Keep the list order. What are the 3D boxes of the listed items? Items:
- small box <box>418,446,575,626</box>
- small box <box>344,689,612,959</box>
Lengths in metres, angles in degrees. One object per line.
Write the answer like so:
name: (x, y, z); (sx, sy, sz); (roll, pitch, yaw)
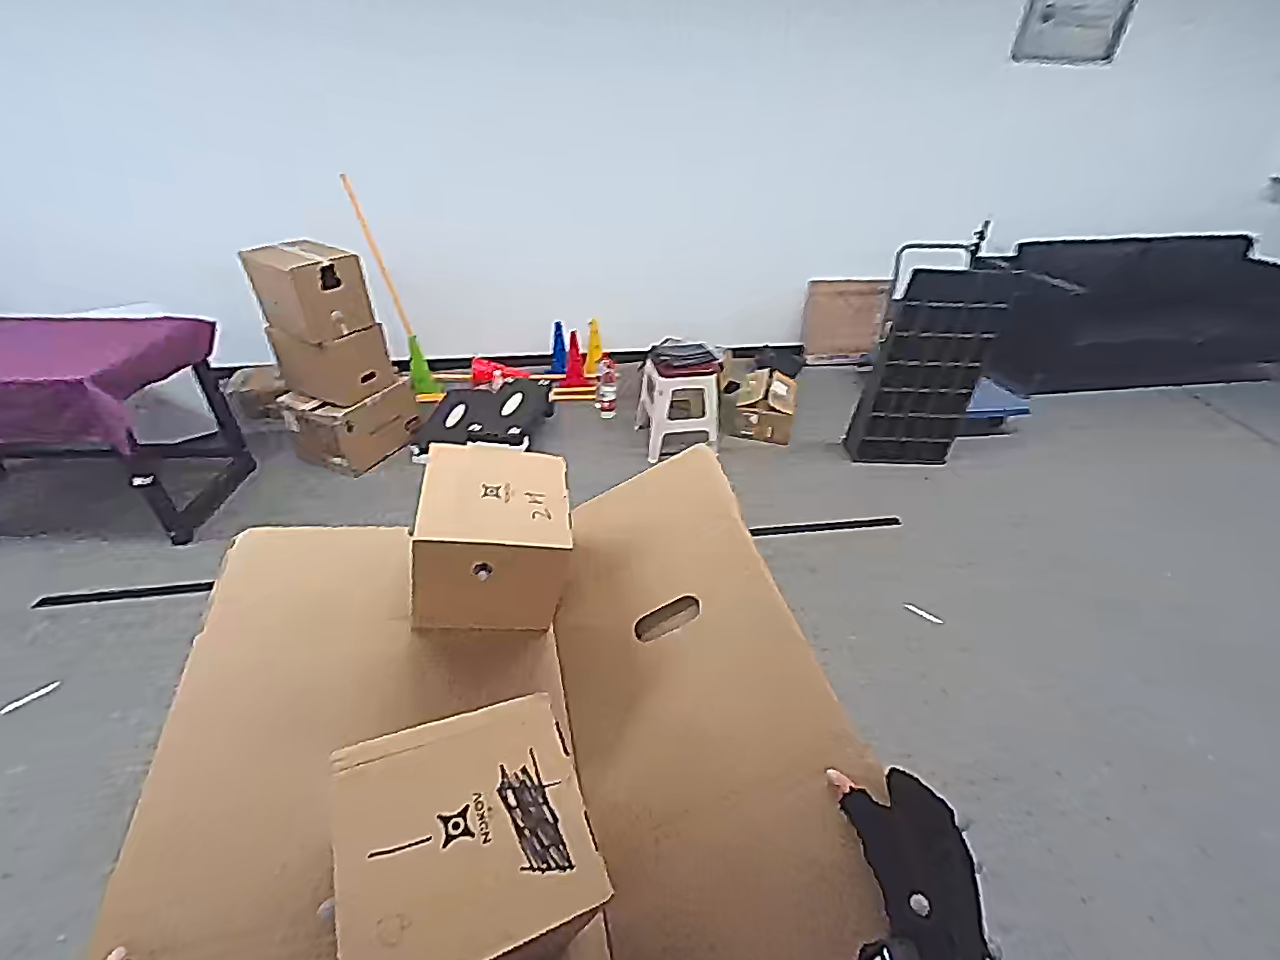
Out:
small box: (-0.191, 0.078, 0.719); (0.179, 0.176, 0.168); (7, 41, -17)
small box: (-0.148, 0.313, 0.465); (0.179, 0.176, 0.168); (-5, 46, -28)
